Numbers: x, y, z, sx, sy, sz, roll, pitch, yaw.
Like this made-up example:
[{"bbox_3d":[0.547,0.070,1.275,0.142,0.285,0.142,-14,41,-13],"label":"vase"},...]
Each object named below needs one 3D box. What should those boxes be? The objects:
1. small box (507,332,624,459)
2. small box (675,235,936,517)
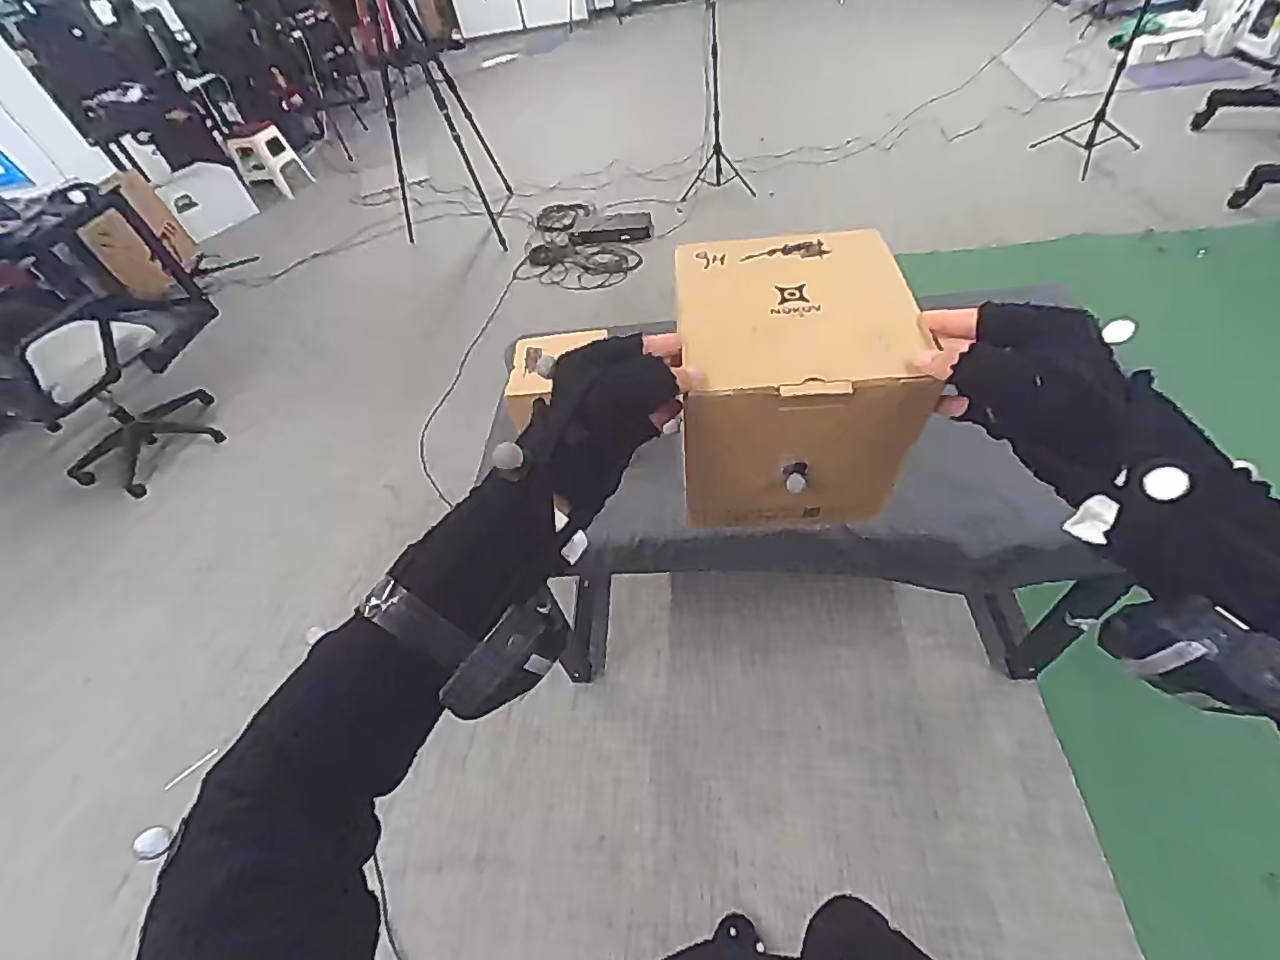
[{"bbox_3d":[-0.131,-0.154,1.025,0.179,0.176,0.168,-5,49,5],"label":"small box"},{"bbox_3d":[0.118,-0.078,0.462,0.168,0.176,0.179,-3,54,4],"label":"small box"}]
